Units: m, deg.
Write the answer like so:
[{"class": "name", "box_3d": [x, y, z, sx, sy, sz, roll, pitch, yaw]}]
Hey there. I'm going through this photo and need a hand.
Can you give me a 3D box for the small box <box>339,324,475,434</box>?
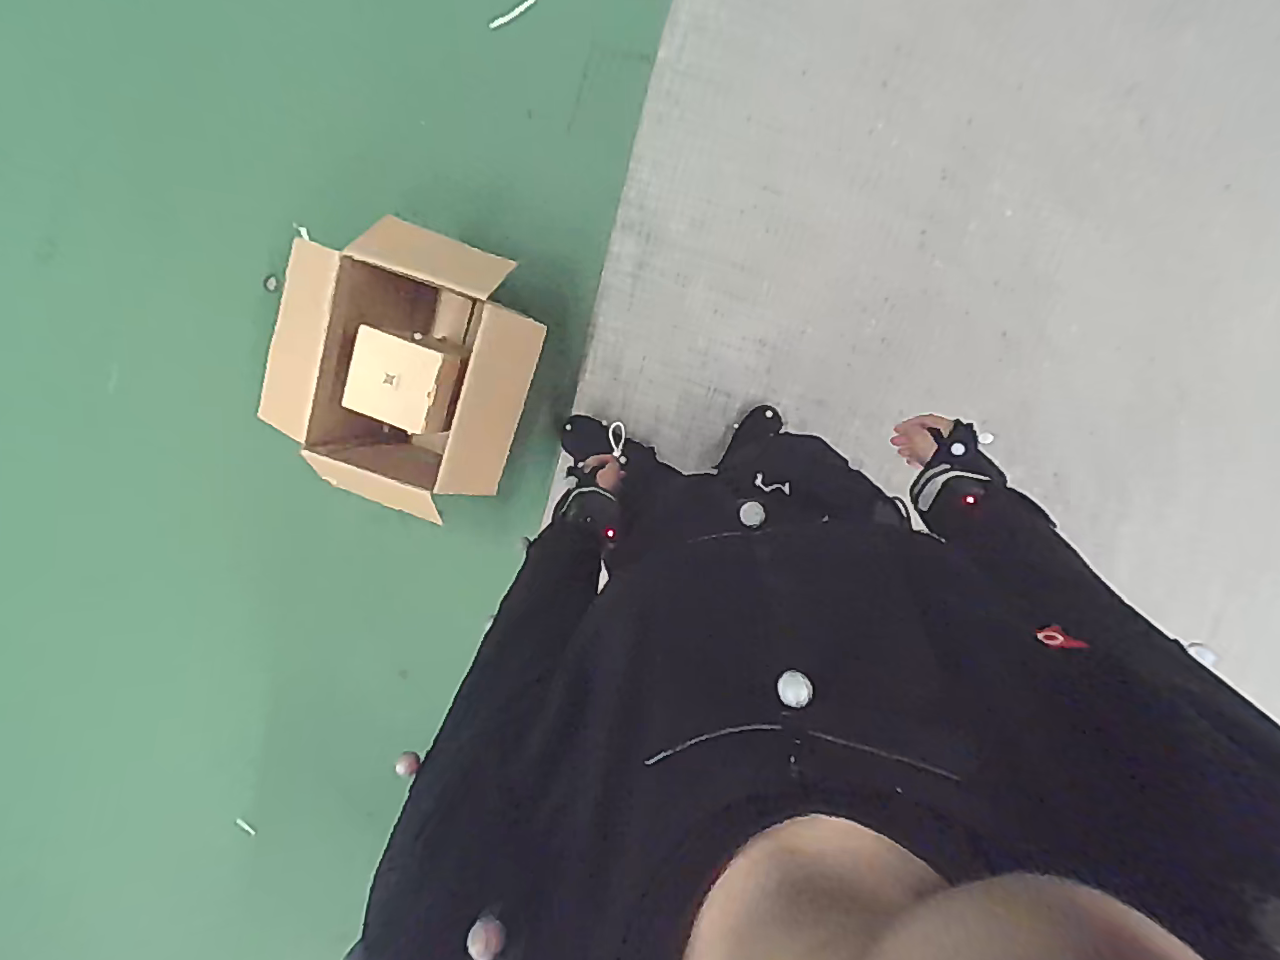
[{"class": "small box", "box_3d": [-0.468, -0.201, 1.105, 0.179, 0.176, 0.168, 20, 101, 3]}]
